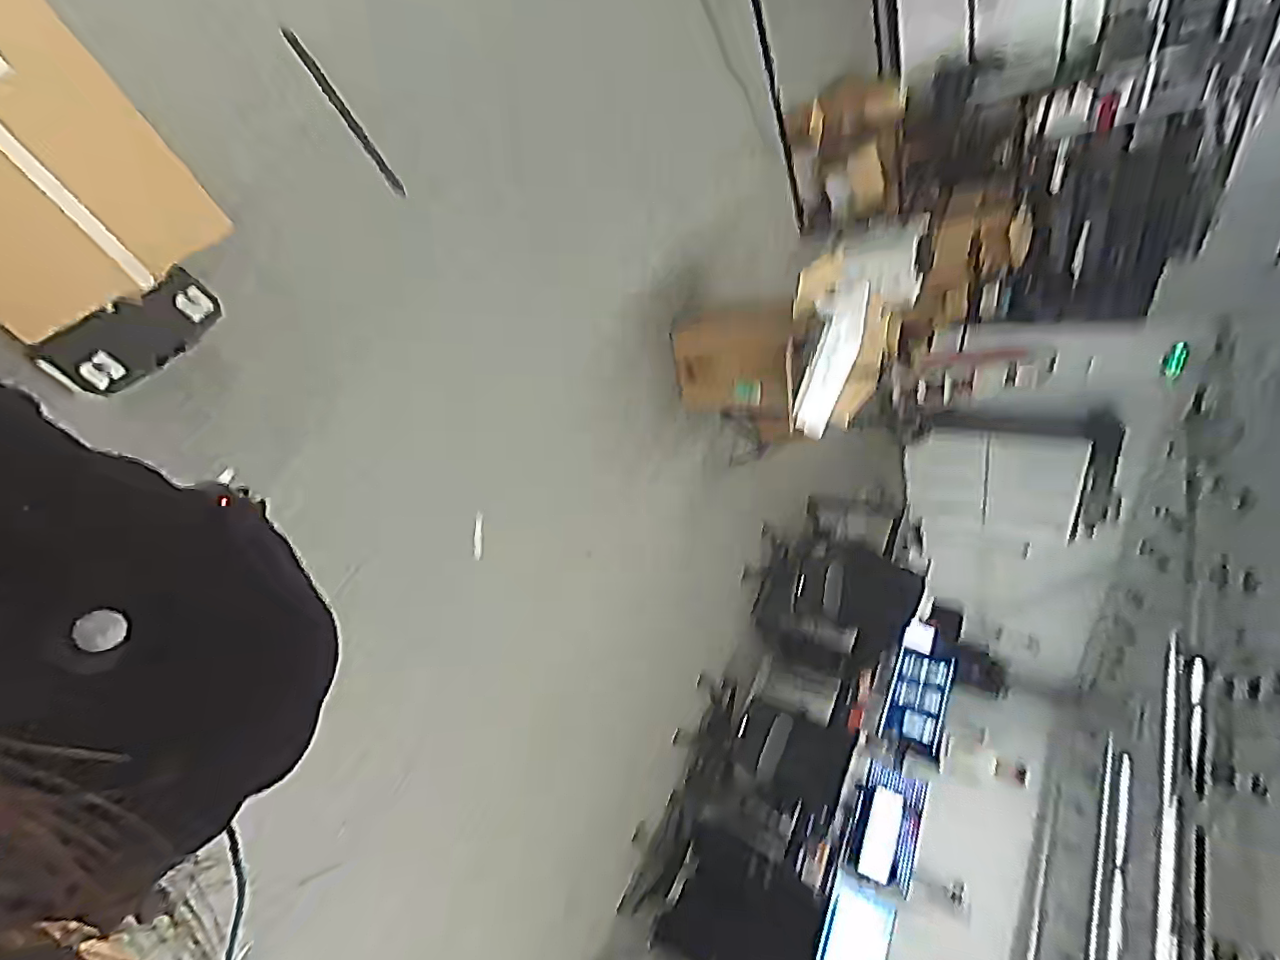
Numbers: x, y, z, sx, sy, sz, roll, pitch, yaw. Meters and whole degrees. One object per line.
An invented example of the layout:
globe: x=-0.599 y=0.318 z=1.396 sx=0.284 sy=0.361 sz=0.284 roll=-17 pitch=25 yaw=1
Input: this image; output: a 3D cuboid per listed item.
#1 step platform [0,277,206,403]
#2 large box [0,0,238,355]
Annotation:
step platform: x=-1.089 y=-0.460 z=0.862 sx=0.286 sy=0.204 sz=0.684 roll=-53 pitch=134 yaw=-32
large box: x=-0.888 y=-0.424 z=0.737 sx=0.320 sy=0.320 sz=0.408 roll=-56 pitch=135 yaw=-30
